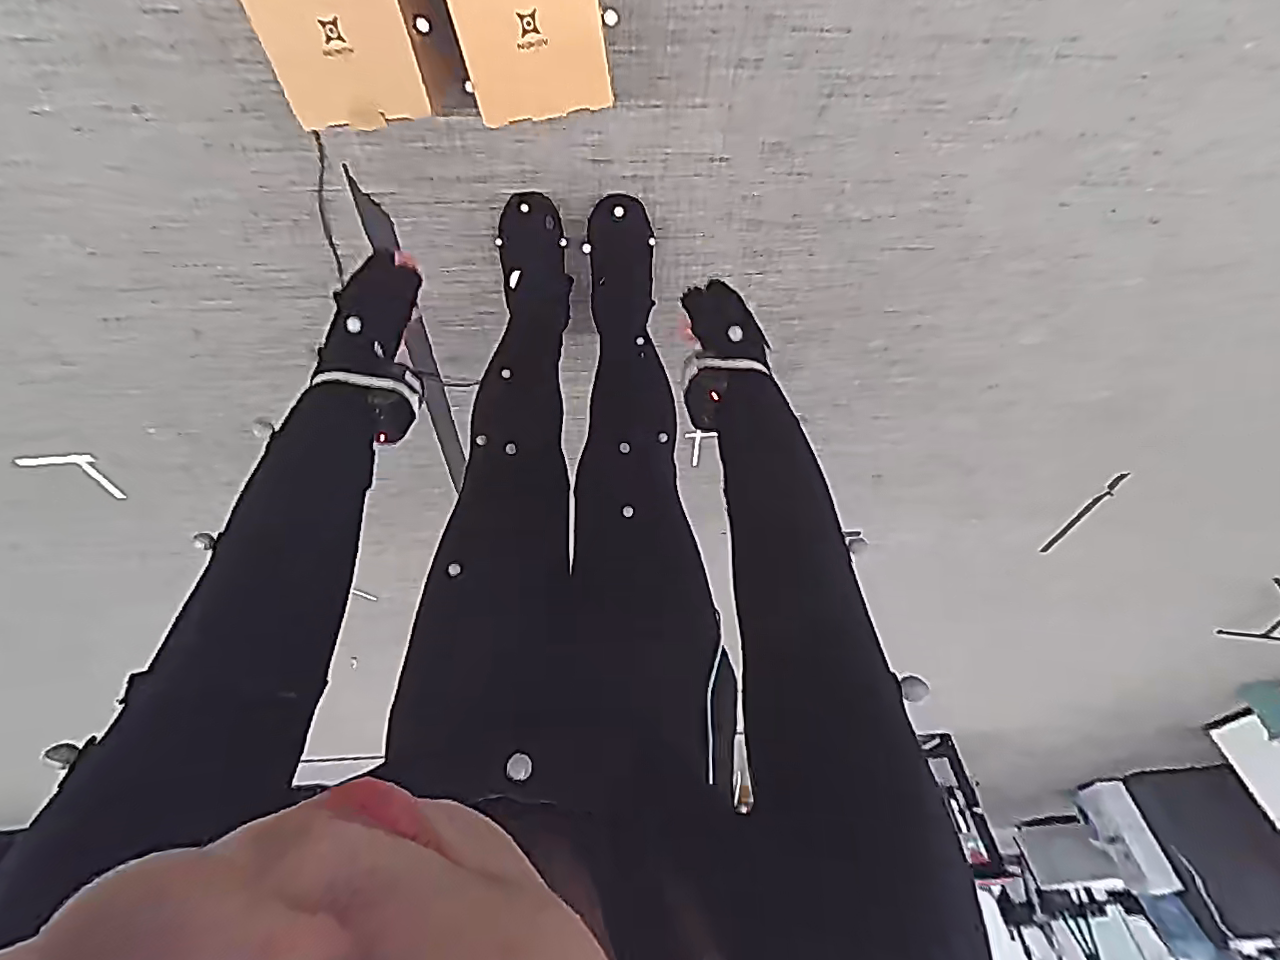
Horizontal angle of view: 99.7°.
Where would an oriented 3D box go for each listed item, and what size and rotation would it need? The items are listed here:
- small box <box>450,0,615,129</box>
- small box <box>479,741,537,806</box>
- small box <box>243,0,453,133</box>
[{"bbox_3d":[-0.128,-0.567,0.664,0.168,0.176,0.179,-8,139,4],"label":"small box"},{"bbox_3d":[-0.457,1.032,1.903,0.168,0.176,0.179,0,138,-4],"label":"small box"},{"bbox_3d":[-0.344,-0.554,0.658,0.168,0.176,0.179,-5,138,1],"label":"small box"}]
